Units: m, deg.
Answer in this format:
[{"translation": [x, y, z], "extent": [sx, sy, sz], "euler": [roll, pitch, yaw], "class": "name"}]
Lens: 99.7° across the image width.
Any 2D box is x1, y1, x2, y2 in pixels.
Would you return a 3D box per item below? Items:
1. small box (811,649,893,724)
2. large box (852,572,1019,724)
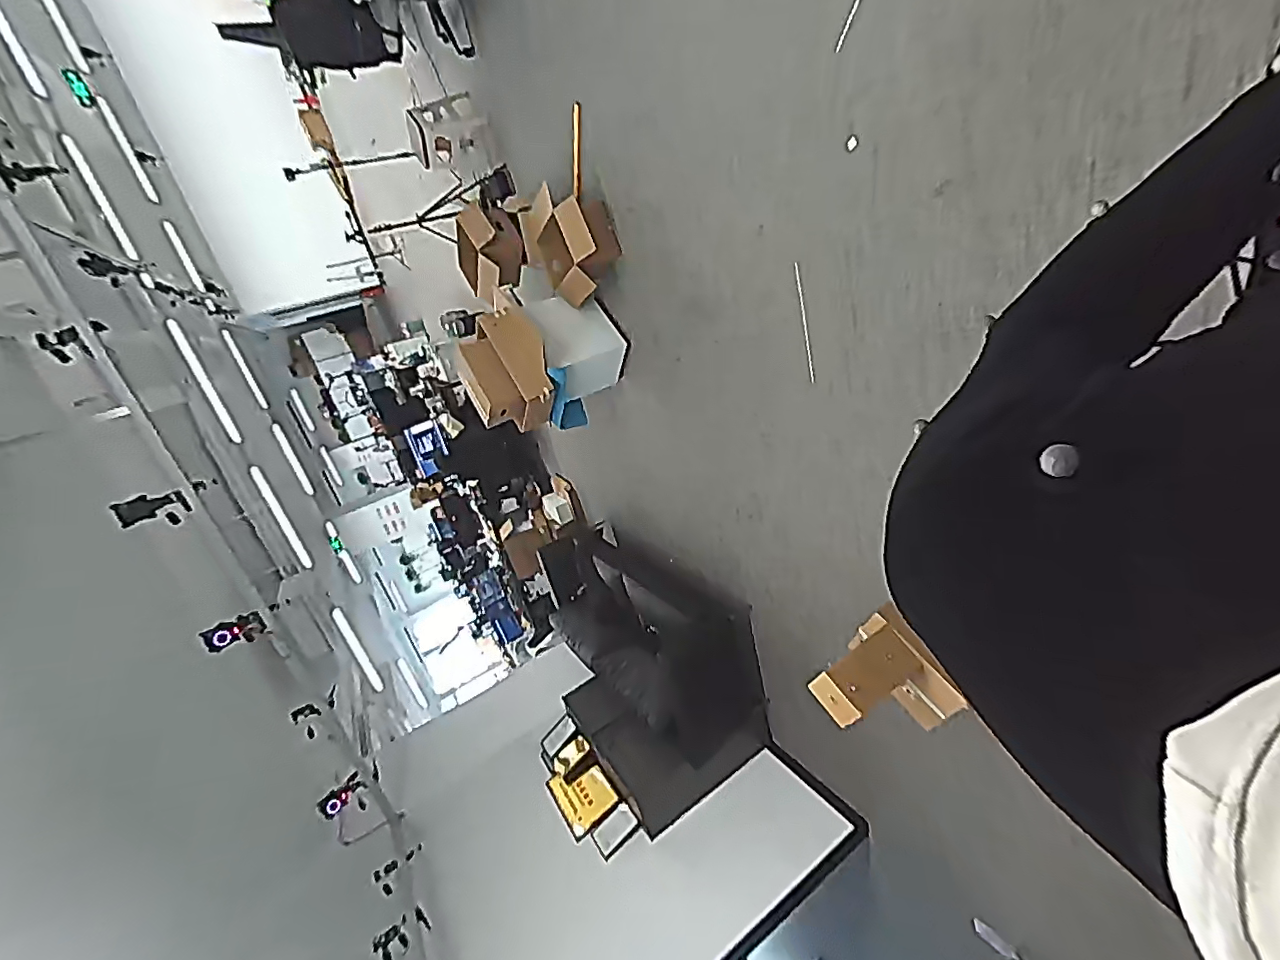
[{"translation": [0.747, 0.722, 1.911], "extent": [0.179, 0.176, 0.168], "euler": [50, 151, 27], "class": "small box"}, {"translation": [1.118, 0.639, 2.085], "extent": [0.408, 0.320, 0.320], "euler": [48, 153, 30], "class": "large box"}]
